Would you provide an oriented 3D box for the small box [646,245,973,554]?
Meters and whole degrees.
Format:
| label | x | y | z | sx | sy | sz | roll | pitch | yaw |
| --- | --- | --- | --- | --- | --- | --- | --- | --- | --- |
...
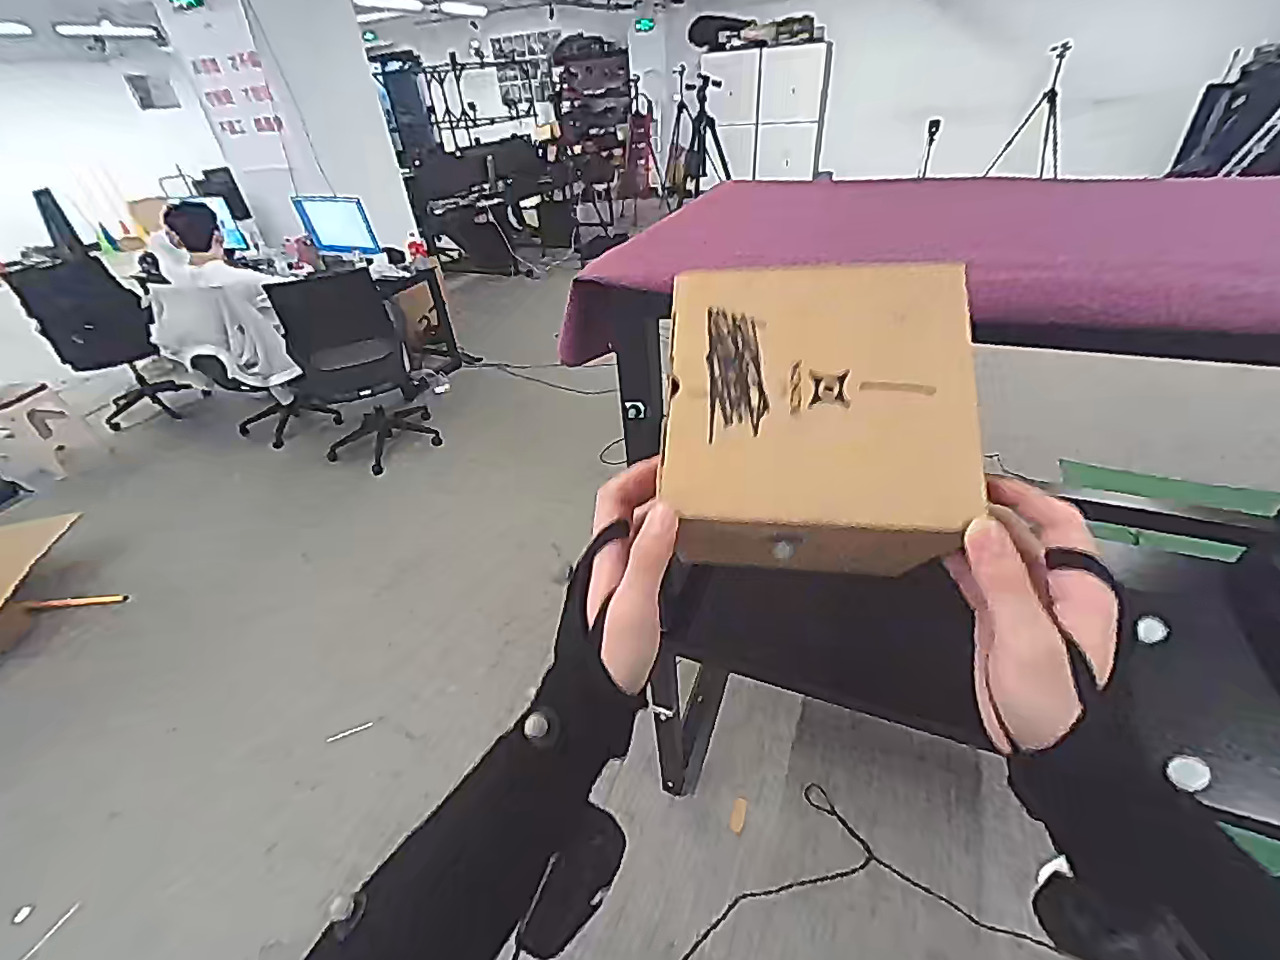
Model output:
| label | x | y | z | sx | sy | sz | roll | pitch | yaw |
| --- | --- | --- | --- | --- | --- | --- | --- | --- | --- |
| small box | 0.110 | -0.044 | 0.393 | 0.179 | 0.176 | 0.168 | 3 | 74 | 10 |
